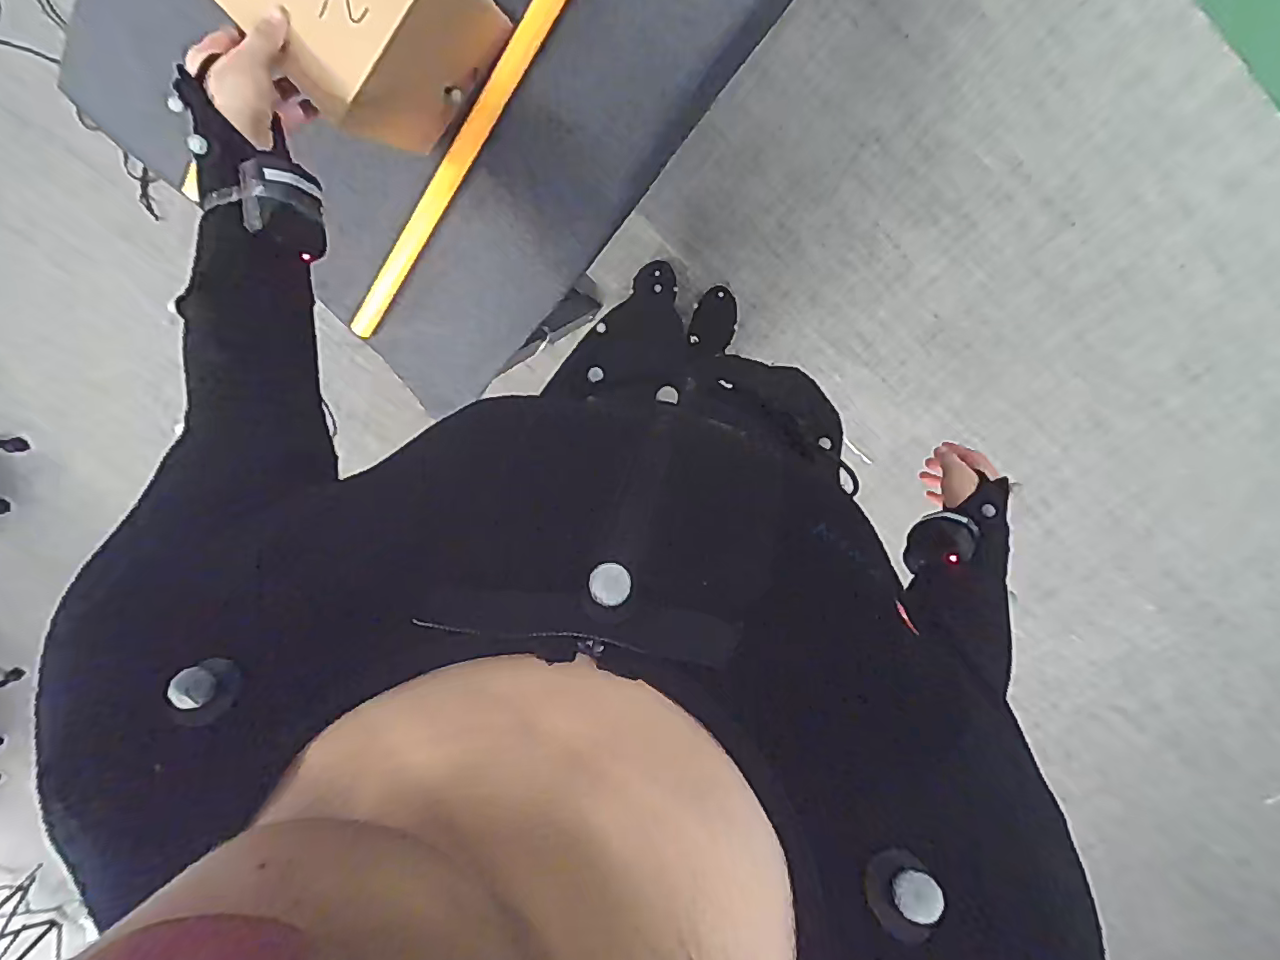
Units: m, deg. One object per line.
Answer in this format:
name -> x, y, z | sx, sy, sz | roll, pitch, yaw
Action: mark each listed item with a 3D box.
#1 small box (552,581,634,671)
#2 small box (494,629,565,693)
small box -> -0.140, 0.450, 1.690 | 0.168, 0.176, 0.179 | -41, 102, 22
small box -> -0.370, 0.634, 1.808 | 0.168, 0.176, 0.179 | 36, 115, -8
